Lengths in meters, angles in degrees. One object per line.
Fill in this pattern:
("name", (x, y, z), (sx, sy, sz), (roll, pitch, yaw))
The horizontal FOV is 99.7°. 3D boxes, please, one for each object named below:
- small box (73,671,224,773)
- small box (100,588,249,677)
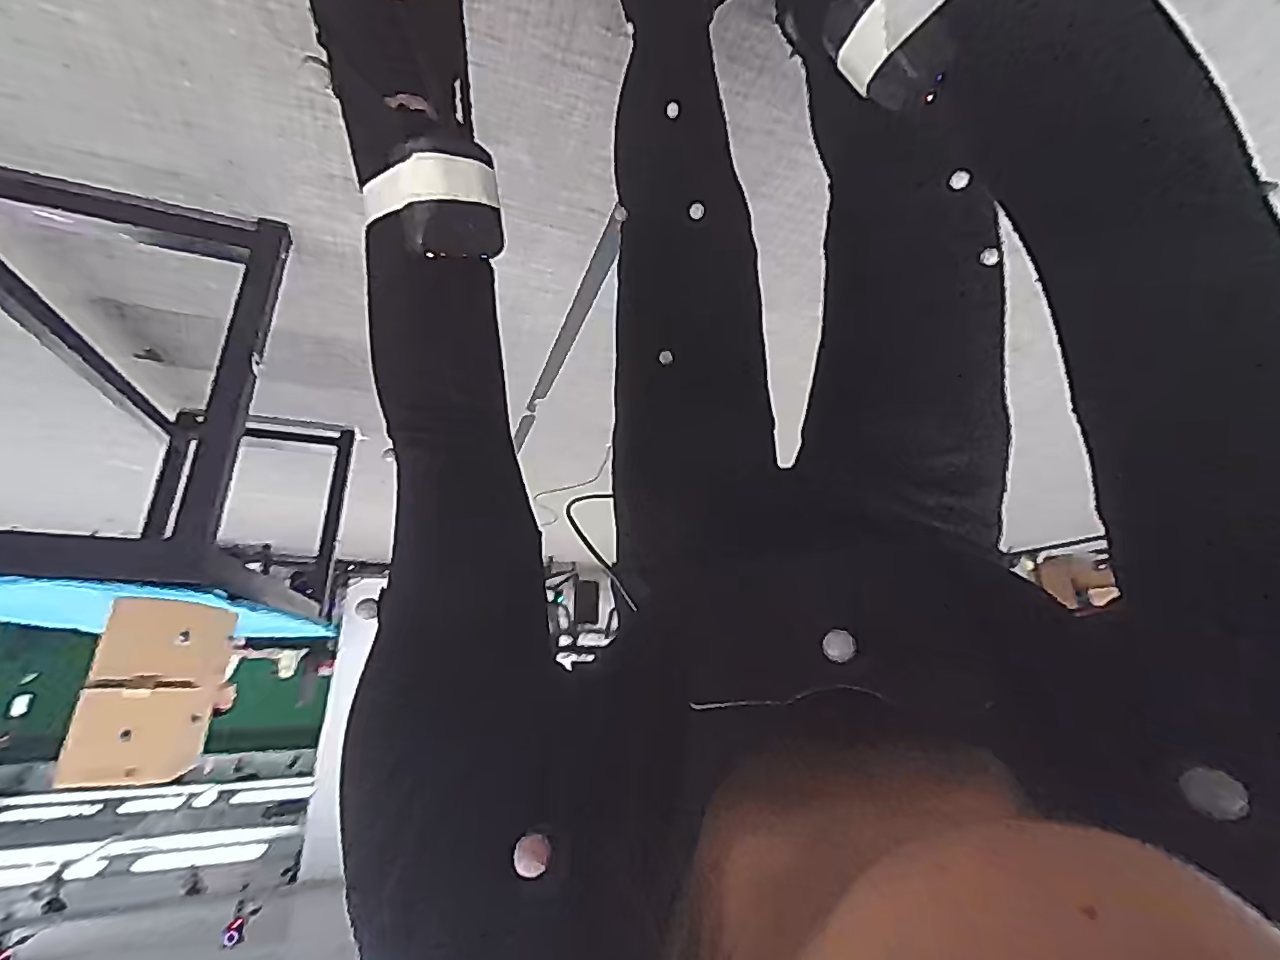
("small box", (-0.973, 0.478, 1.082), (0.168, 0.176, 0.179), (9, 163, -21))
("small box", (-0.969, 0.325, 1.140), (0.179, 0.176, 0.168), (7, 161, -19))
